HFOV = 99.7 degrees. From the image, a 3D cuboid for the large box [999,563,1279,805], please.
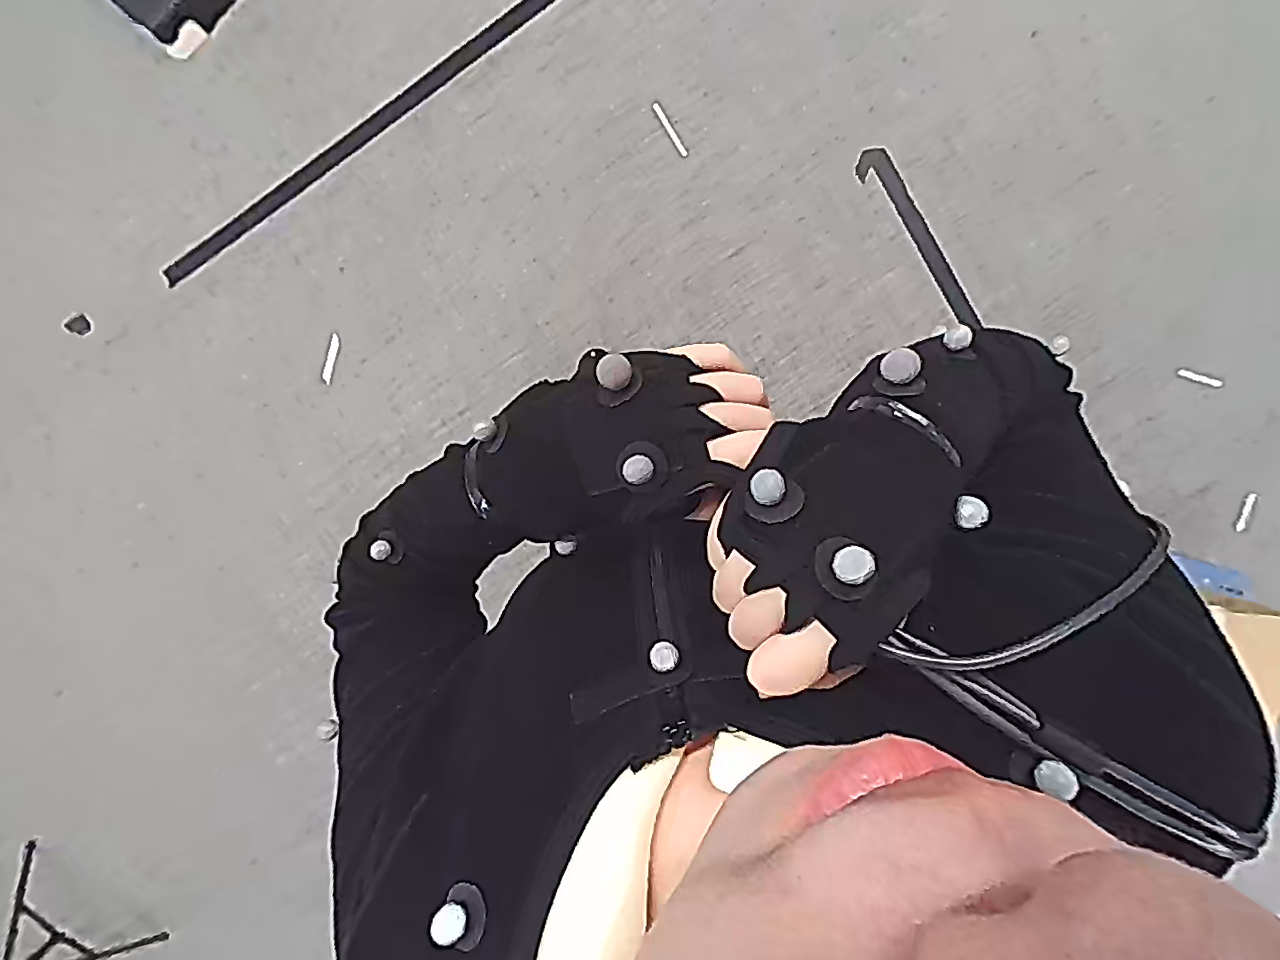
[{"bbox_3d":[1.063,0.421,1.195,0.320,0.320,0.408,4,97,1],"label":"large box"}]
